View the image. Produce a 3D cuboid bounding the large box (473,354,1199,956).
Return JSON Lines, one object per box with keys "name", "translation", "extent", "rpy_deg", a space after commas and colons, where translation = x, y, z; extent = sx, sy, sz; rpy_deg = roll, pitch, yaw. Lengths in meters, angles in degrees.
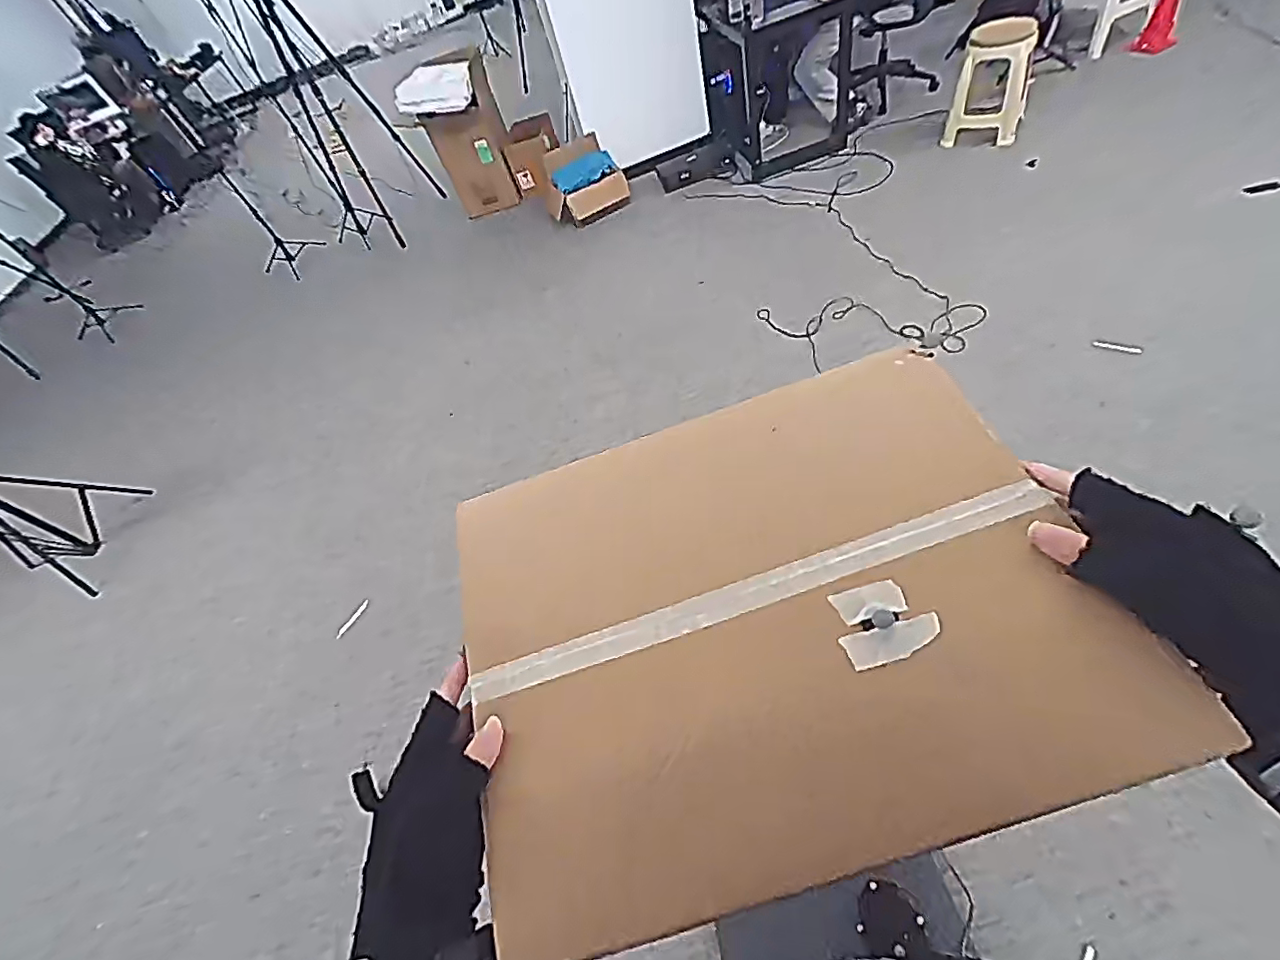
{"name": "large box", "translation": [0.111, 0.156, 0.503], "extent": [0.408, 0.320, 0.320], "rpy_deg": [-20, 57, 2]}
